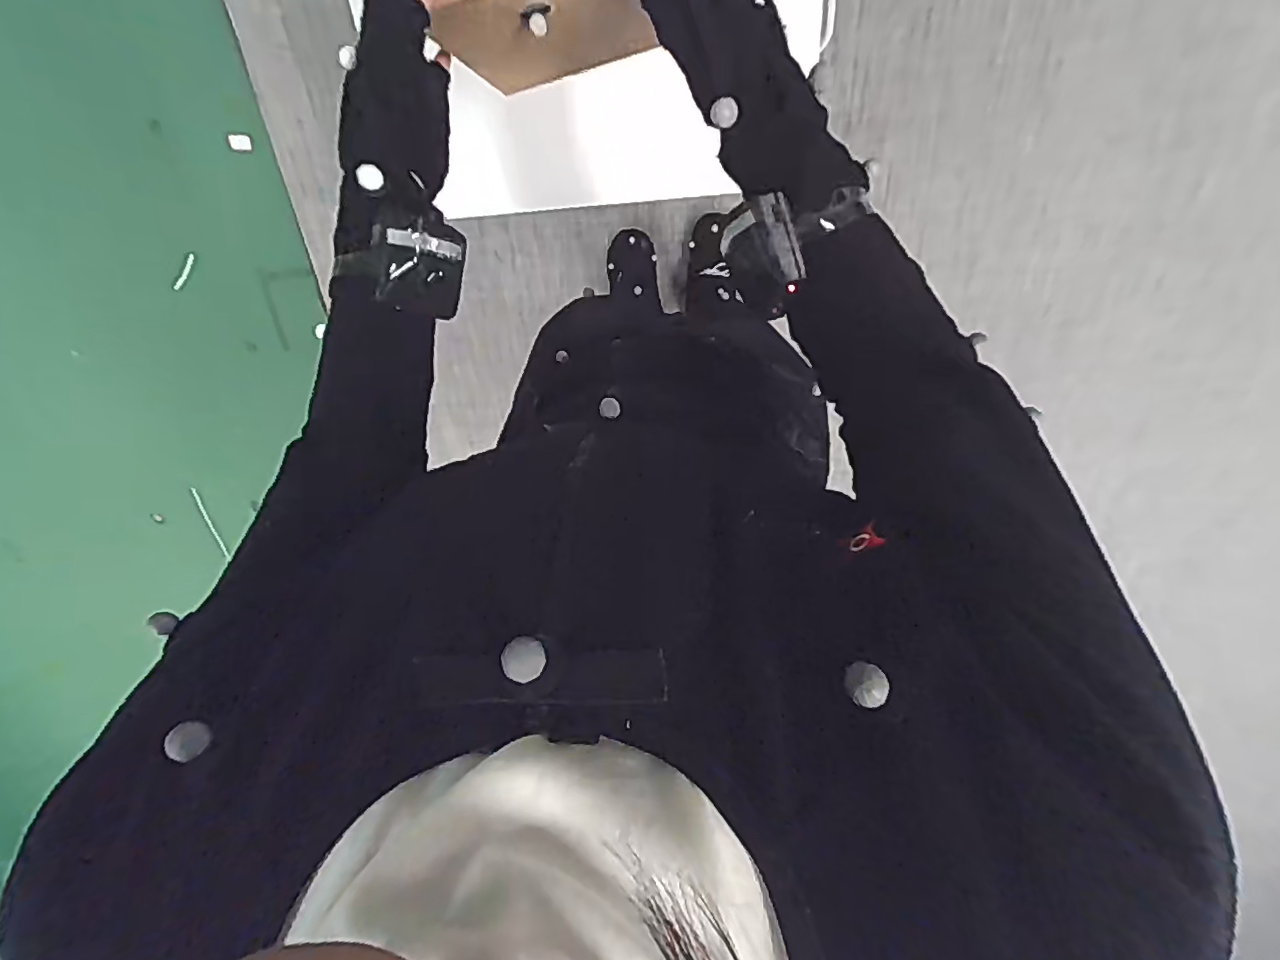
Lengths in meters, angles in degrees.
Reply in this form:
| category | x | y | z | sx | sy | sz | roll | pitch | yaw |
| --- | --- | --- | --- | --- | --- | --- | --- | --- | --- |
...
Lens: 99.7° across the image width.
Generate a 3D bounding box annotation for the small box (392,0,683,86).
| category | x | y | z | sx | sy | sz | roll | pitch | yaw |
| --- | --- | --- | --- | --- | --- | --- | --- | --- | --- |
| small box | -0.073 | -0.408 | 0.374 | 0.179 | 0.176 | 0.168 | -8 | 110 | 12 |
